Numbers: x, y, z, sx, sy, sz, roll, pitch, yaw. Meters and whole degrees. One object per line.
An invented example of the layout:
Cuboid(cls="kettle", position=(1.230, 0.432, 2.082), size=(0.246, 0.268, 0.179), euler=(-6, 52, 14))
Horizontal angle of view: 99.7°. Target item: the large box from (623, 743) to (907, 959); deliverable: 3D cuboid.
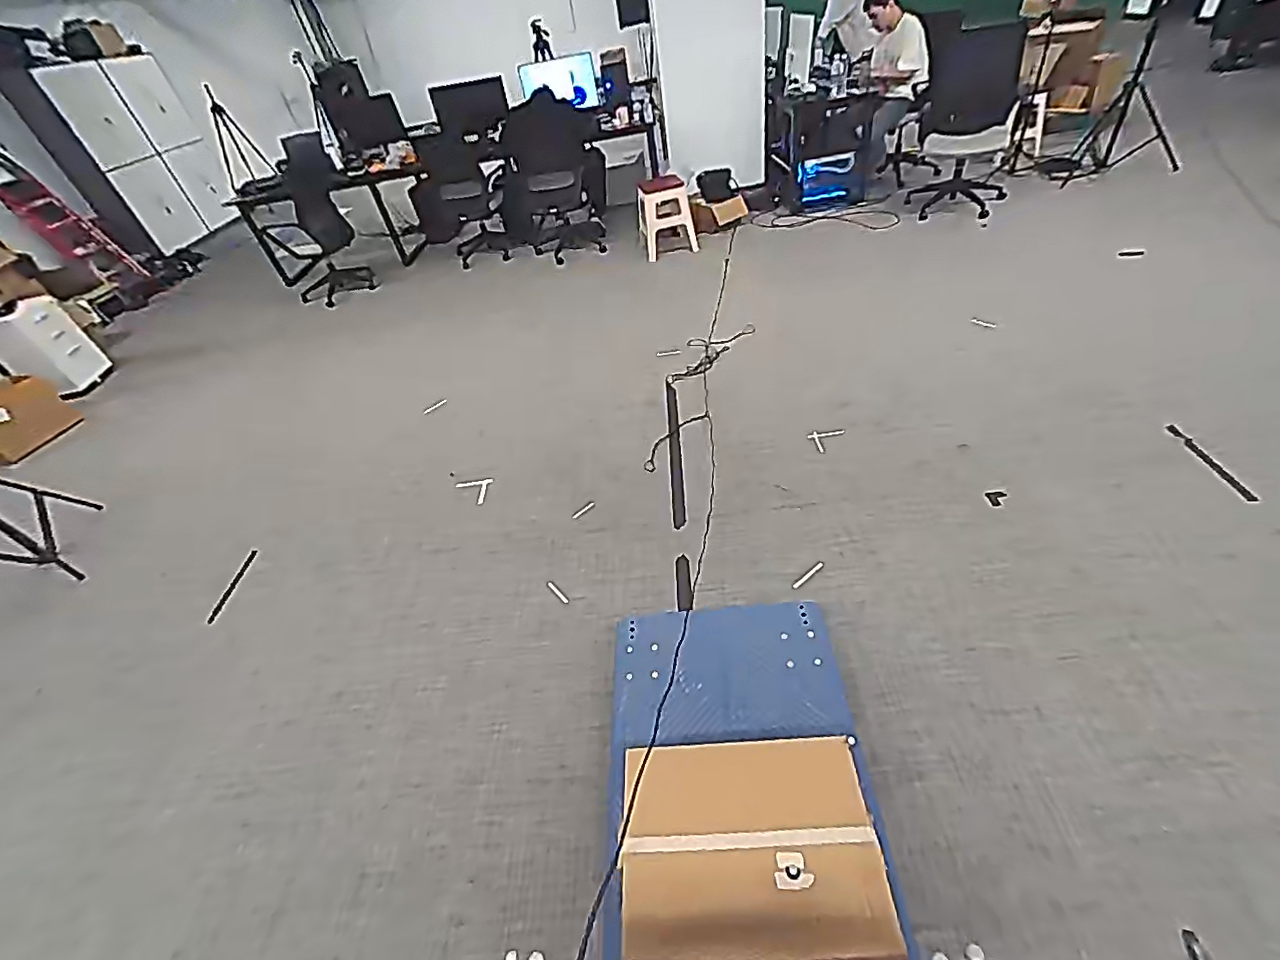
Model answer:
Cuboid(cls="large box", position=(0.190, 0.702, 0.959), size=(0.408, 0.320, 0.320), euler=(-6, 42, 6))
